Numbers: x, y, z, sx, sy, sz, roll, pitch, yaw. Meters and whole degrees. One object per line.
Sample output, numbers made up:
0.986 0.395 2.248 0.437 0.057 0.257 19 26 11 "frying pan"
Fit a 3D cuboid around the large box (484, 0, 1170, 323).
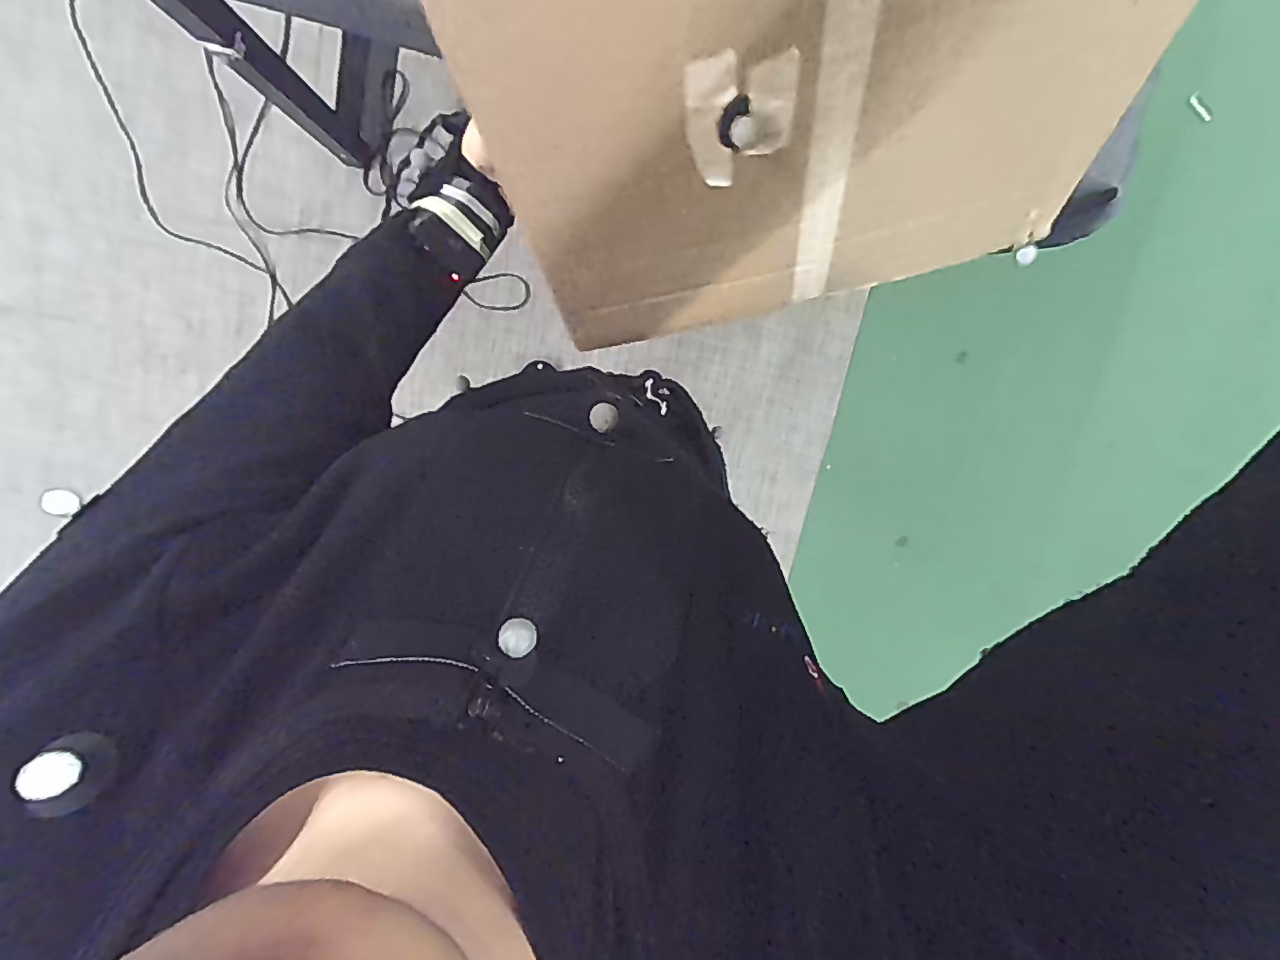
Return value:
0.058 -0.353 0.248 0.320 0.408 0.320 -14 67 5 "large box"
